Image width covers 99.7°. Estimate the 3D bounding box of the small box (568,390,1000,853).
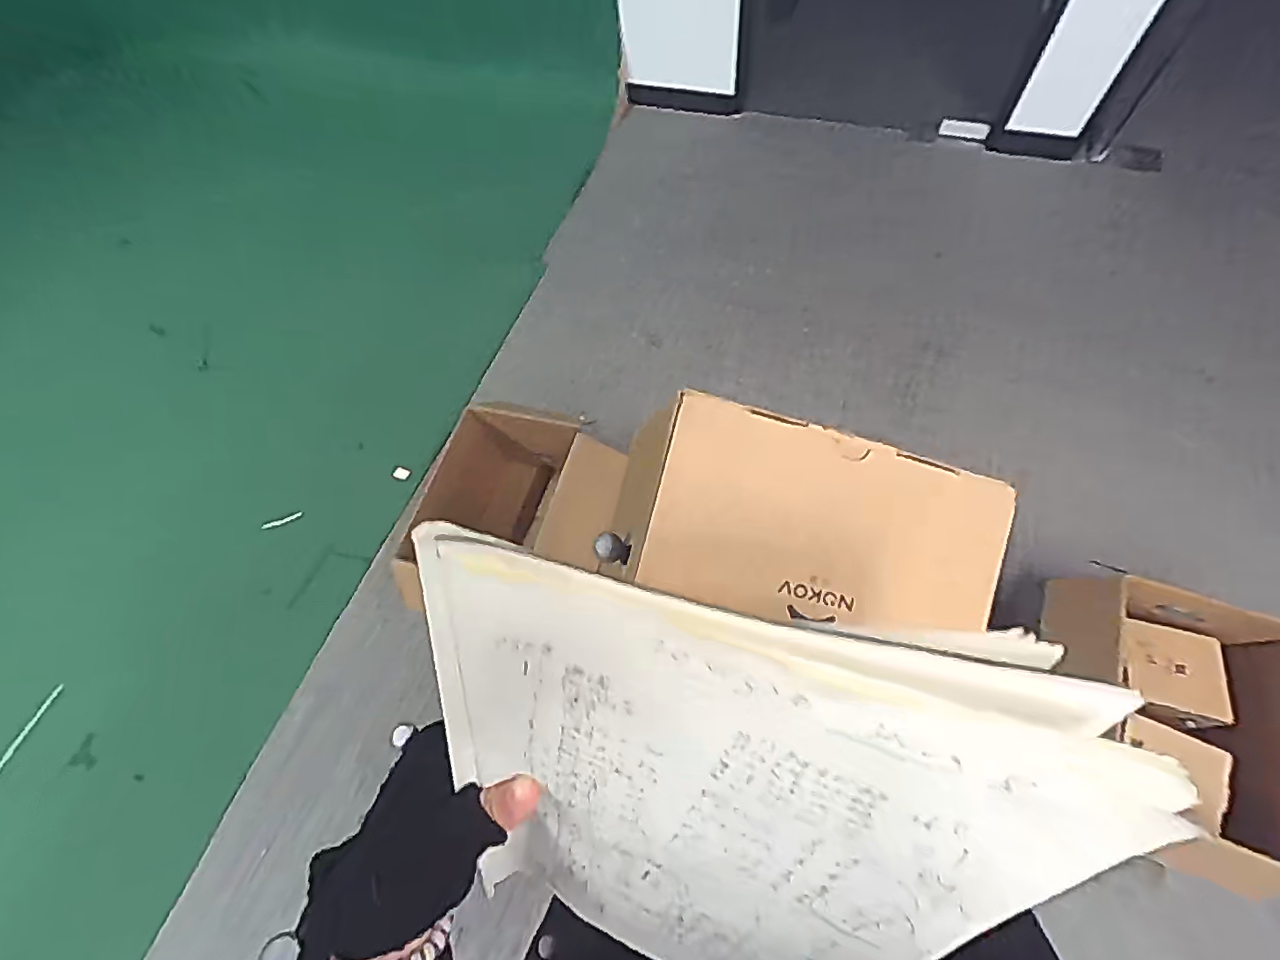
[{"bbox_3d":[0.062,0.067,0.321,0.168,0.176,0.179,15,85,-5],"label":"small box"}]
